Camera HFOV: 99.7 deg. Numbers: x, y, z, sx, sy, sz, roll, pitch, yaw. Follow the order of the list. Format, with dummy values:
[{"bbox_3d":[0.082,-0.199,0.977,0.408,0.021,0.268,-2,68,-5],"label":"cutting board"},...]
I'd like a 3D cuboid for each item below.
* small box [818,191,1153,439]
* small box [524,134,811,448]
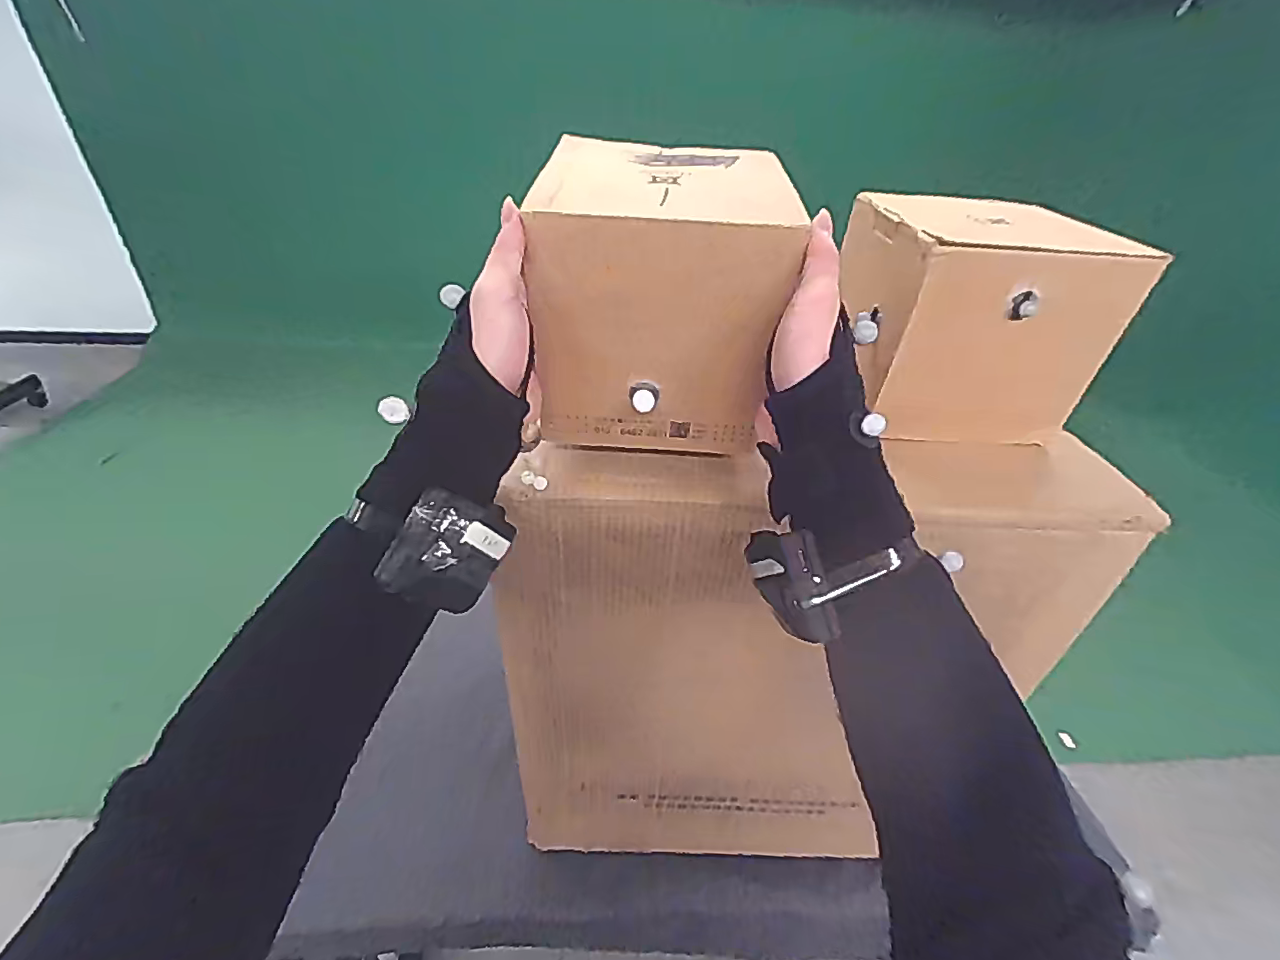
[{"bbox_3d":[0.280,-0.151,0.496,0.179,0.176,0.168,3,38,-5],"label":"small box"},{"bbox_3d":[0.016,-0.147,0.416,0.168,0.176,0.179,4,43,1],"label":"small box"}]
